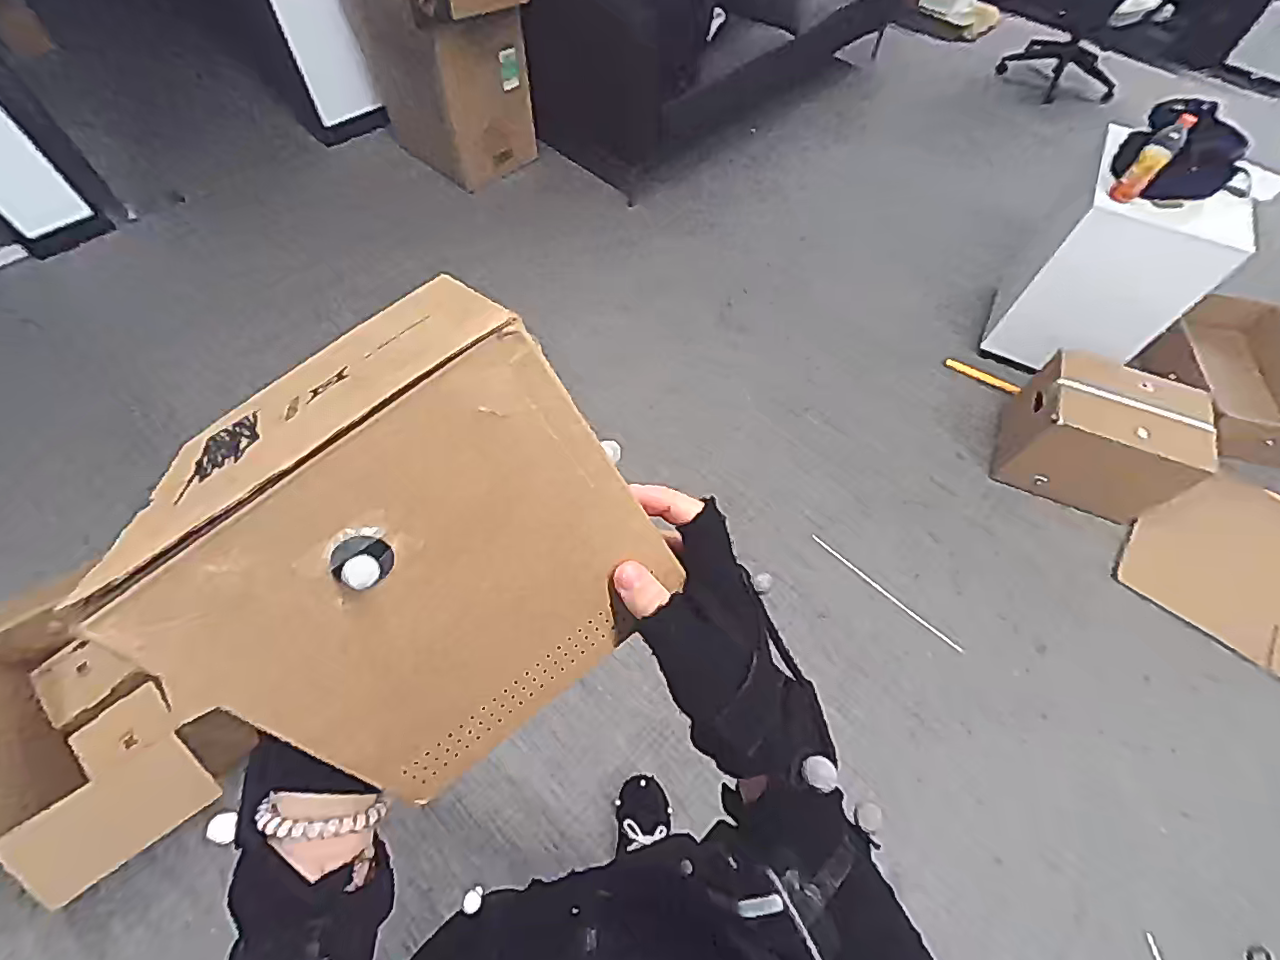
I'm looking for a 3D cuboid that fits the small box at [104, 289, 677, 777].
[{"bbox_3d":[-0.111,0.022,0.302,0.179,0.176,0.168,-38,35,-7],"label":"small box"}]
